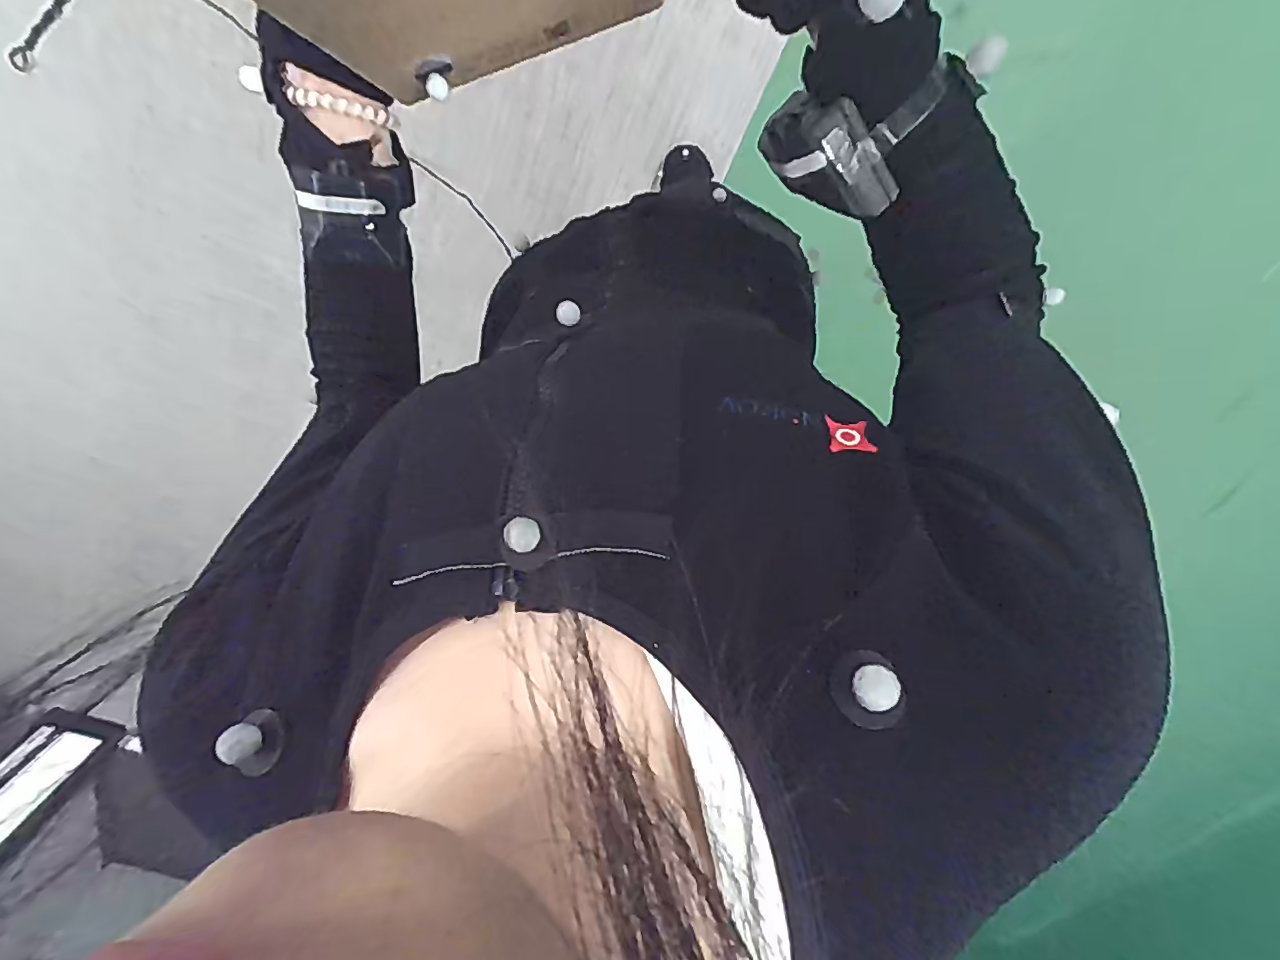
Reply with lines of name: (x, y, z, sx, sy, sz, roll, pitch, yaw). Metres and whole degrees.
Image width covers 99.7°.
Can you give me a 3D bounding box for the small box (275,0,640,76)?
small box: (-0.093, -0.299, 0.213, 0.168, 0.176, 0.179, -14, 106, 10)
